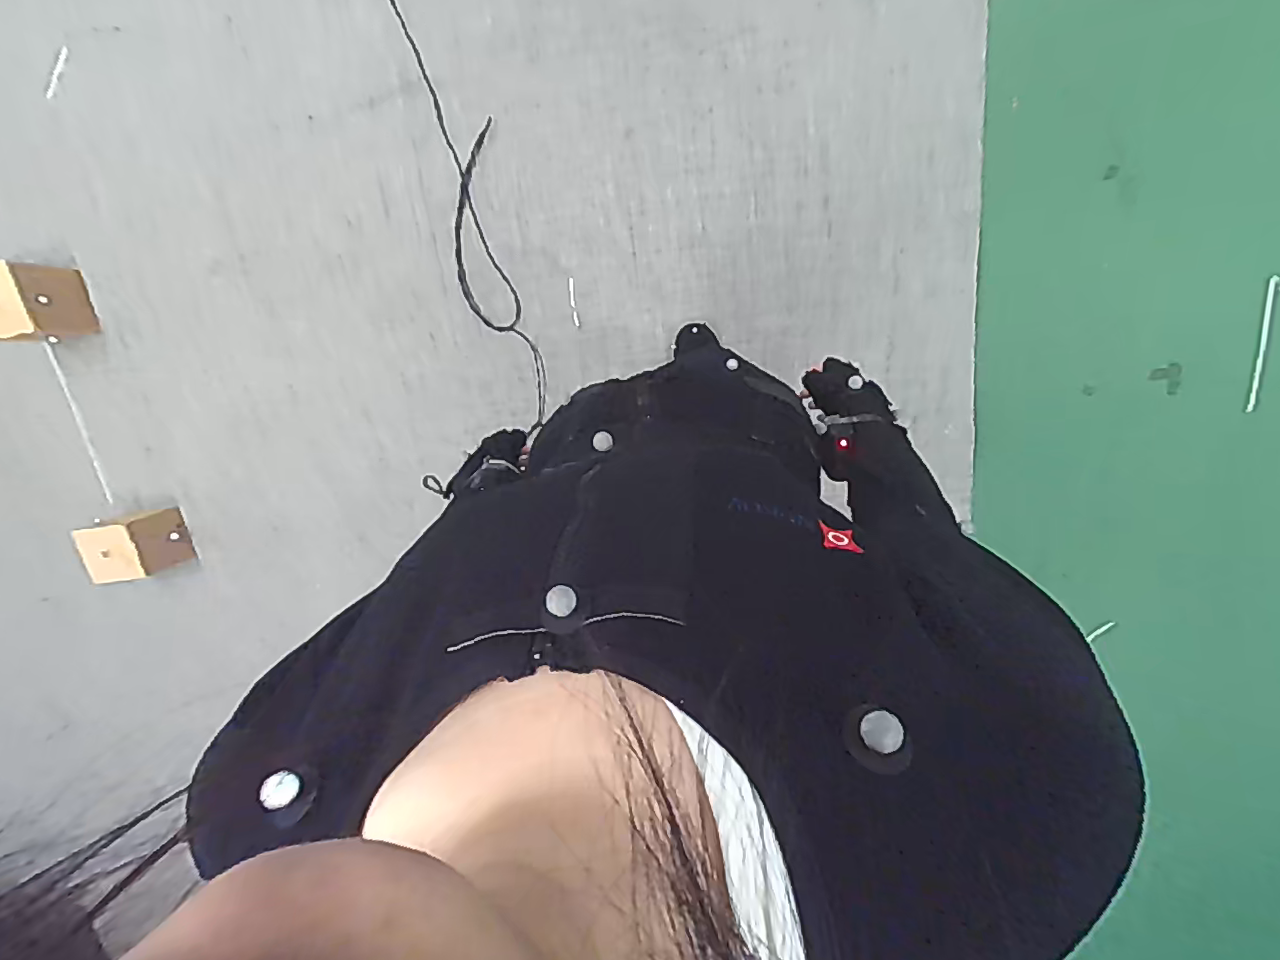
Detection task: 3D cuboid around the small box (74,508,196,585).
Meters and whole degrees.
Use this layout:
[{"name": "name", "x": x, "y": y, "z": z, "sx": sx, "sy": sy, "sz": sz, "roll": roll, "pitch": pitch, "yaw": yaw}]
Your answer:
[{"name": "small box", "x": -1.479, "y": 0.192, "z": 1.595, "sx": 0.179, "sy": 0.176, "sz": 0.168, "roll": -7, "pitch": 106, "yaw": 6}]

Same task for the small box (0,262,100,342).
[{"name": "small box", "x": -1.598, "y": -0.459, "z": 1.417, "sx": 0.168, "sy": 0.176, "sz": 0.179, "roll": -7, "pitch": 106, "yaw": 6}]
